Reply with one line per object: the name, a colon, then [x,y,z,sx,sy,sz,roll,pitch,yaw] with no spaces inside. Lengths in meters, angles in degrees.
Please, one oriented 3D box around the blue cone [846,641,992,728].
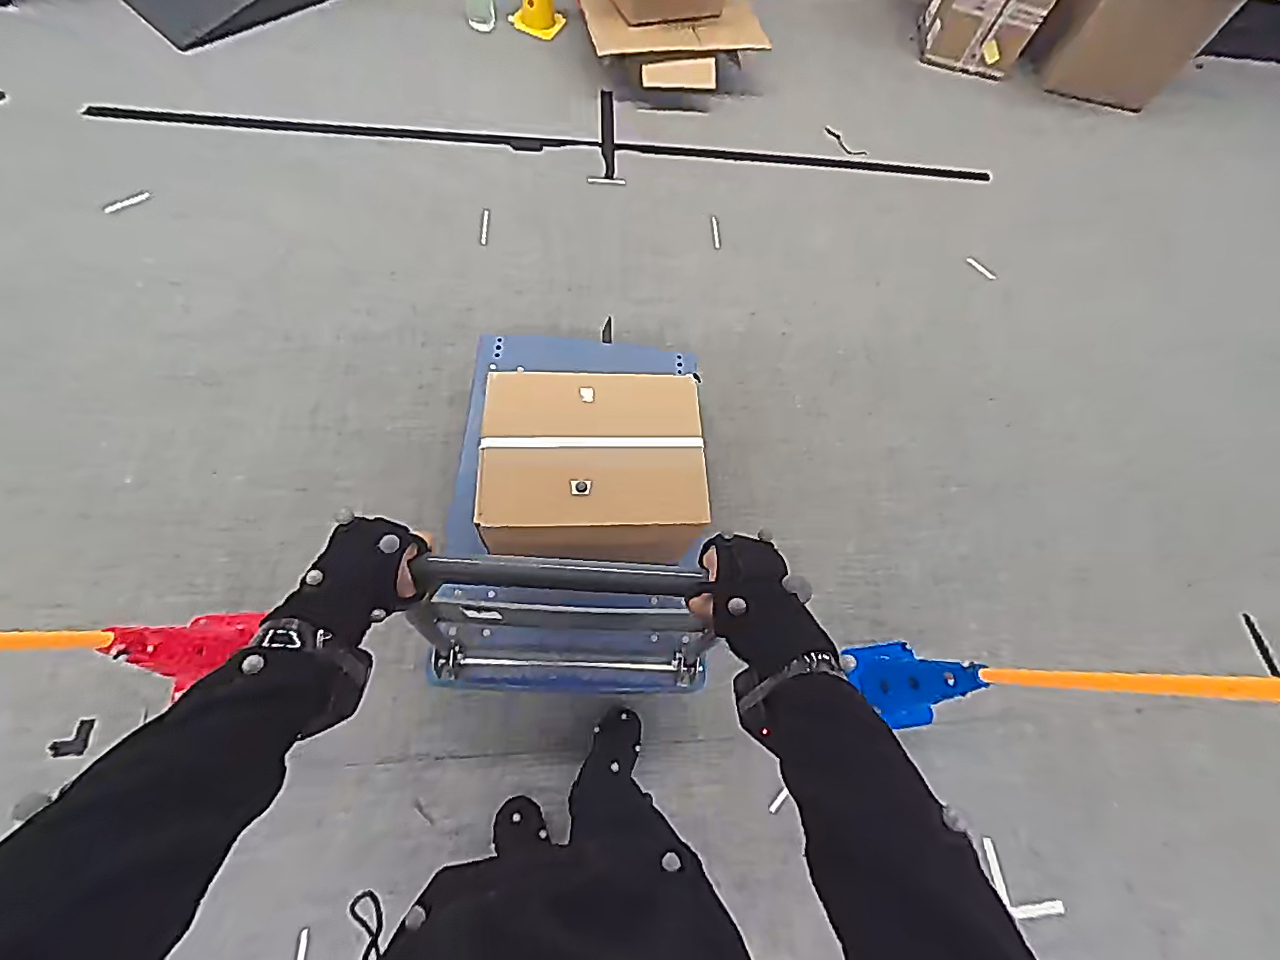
blue cone: [0.643,0.441,1.205,0.193,0.380,0.192,-3,66,-9]
